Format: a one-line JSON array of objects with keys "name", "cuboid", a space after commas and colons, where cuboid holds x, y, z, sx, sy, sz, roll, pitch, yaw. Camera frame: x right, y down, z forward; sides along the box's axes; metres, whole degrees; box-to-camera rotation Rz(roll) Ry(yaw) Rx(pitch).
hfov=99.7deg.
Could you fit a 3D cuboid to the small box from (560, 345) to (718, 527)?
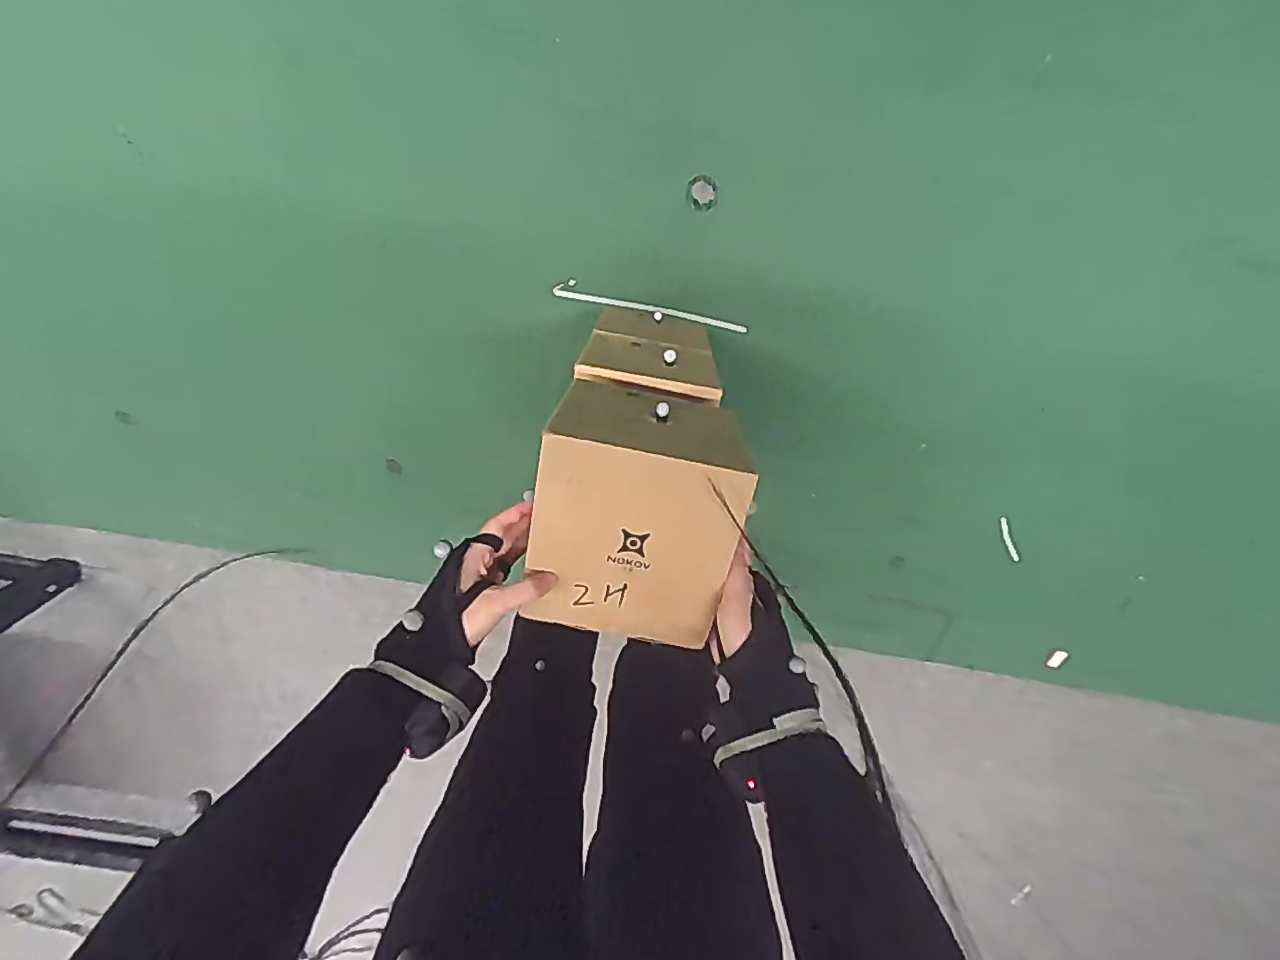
[{"name": "small box", "cuboid": [-0.005, -0.065, 0.703, 0.168, 0.176, 0.179, 9, 118, -2]}]
